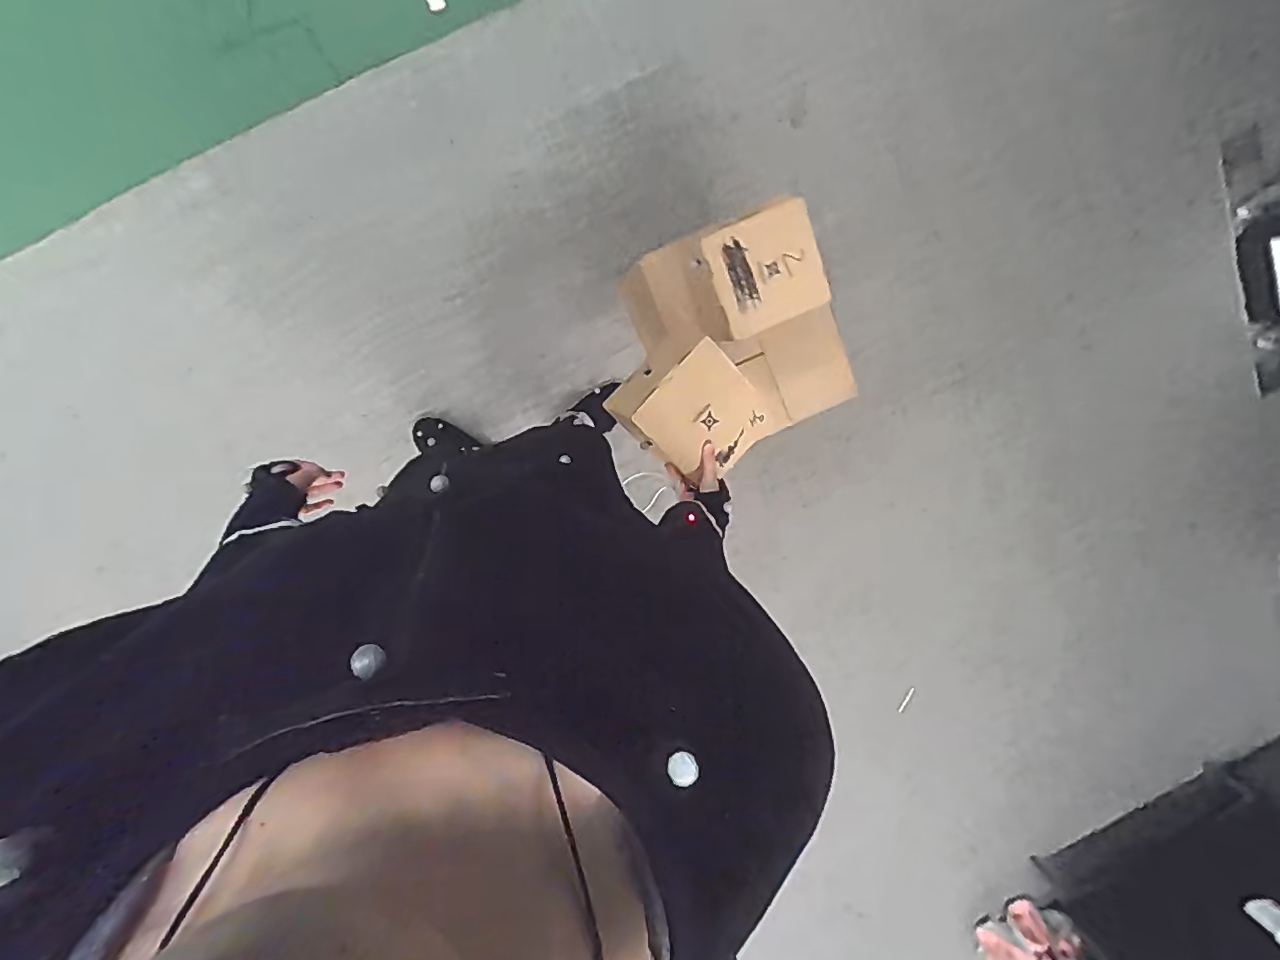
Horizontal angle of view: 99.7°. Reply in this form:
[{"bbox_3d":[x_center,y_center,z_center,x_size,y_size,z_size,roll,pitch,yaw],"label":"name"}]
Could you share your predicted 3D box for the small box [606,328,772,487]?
[{"bbox_3d":[0.068,-0.118,0.864,0.179,0.176,0.168,43,89,-20],"label":"small box"}]
